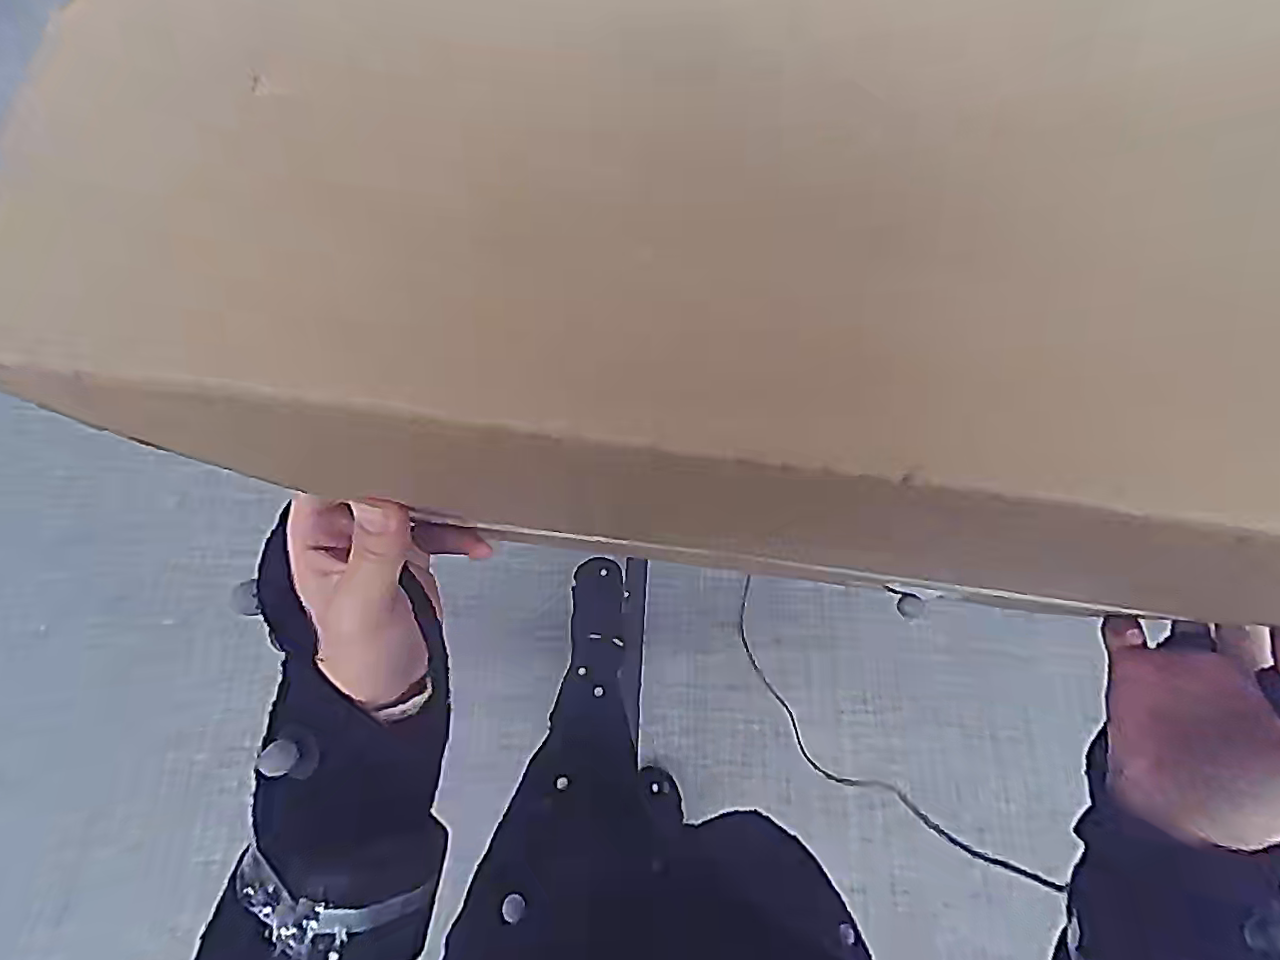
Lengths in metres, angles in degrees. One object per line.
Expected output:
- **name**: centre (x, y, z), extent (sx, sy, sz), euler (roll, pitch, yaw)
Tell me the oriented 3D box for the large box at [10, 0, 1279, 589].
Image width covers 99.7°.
- **large box**: centre (0.093, -0.128, 0.269), extent (0.408, 0.320, 0.320), euler (7, 80, -1)
